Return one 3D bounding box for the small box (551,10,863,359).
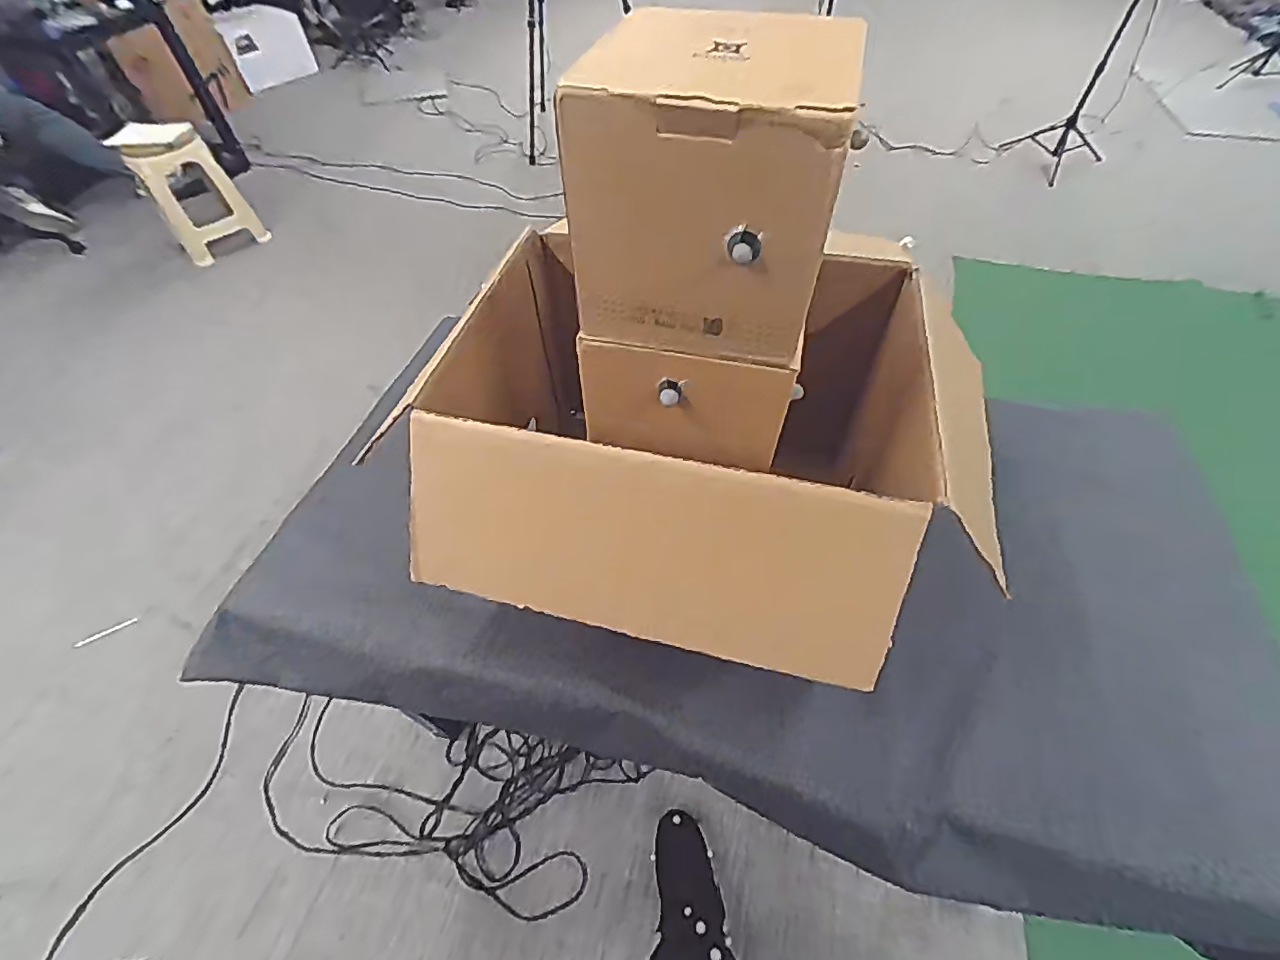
[{"bbox_3d":[0.052,-0.213,0.396,0.168,0.176,0.179,12,53,9],"label":"small box"}]

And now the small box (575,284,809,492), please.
[{"bbox_3d":[0.053,-0.108,0.520,0.179,0.176,0.168,10,53,9],"label":"small box"}]
